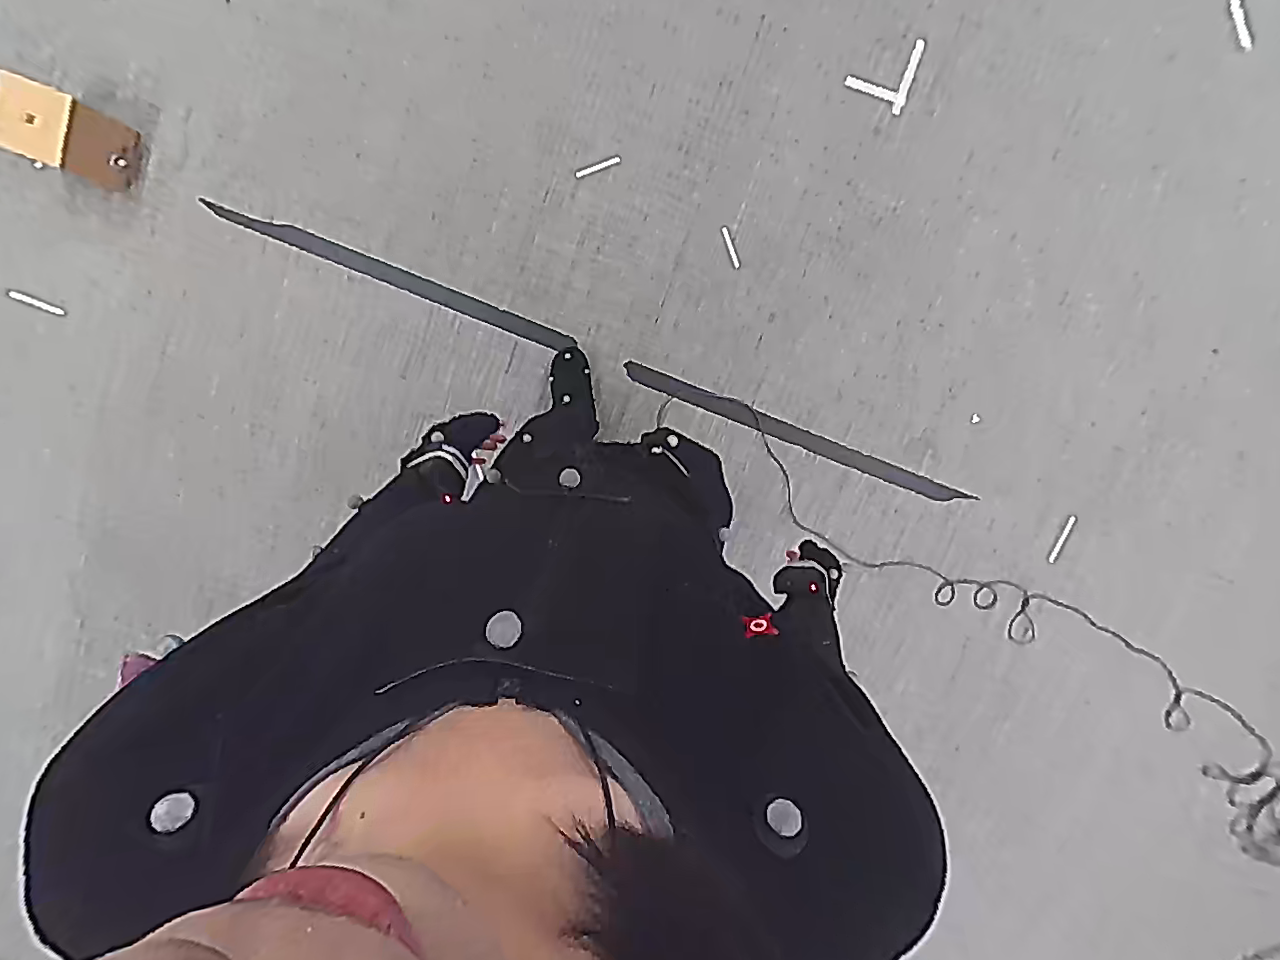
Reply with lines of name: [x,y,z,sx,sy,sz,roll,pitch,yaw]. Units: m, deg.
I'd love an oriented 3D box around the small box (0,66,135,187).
small box: [-1.396,-0.843,1.308,0.179,0.176,0.168,20,99,-3]
